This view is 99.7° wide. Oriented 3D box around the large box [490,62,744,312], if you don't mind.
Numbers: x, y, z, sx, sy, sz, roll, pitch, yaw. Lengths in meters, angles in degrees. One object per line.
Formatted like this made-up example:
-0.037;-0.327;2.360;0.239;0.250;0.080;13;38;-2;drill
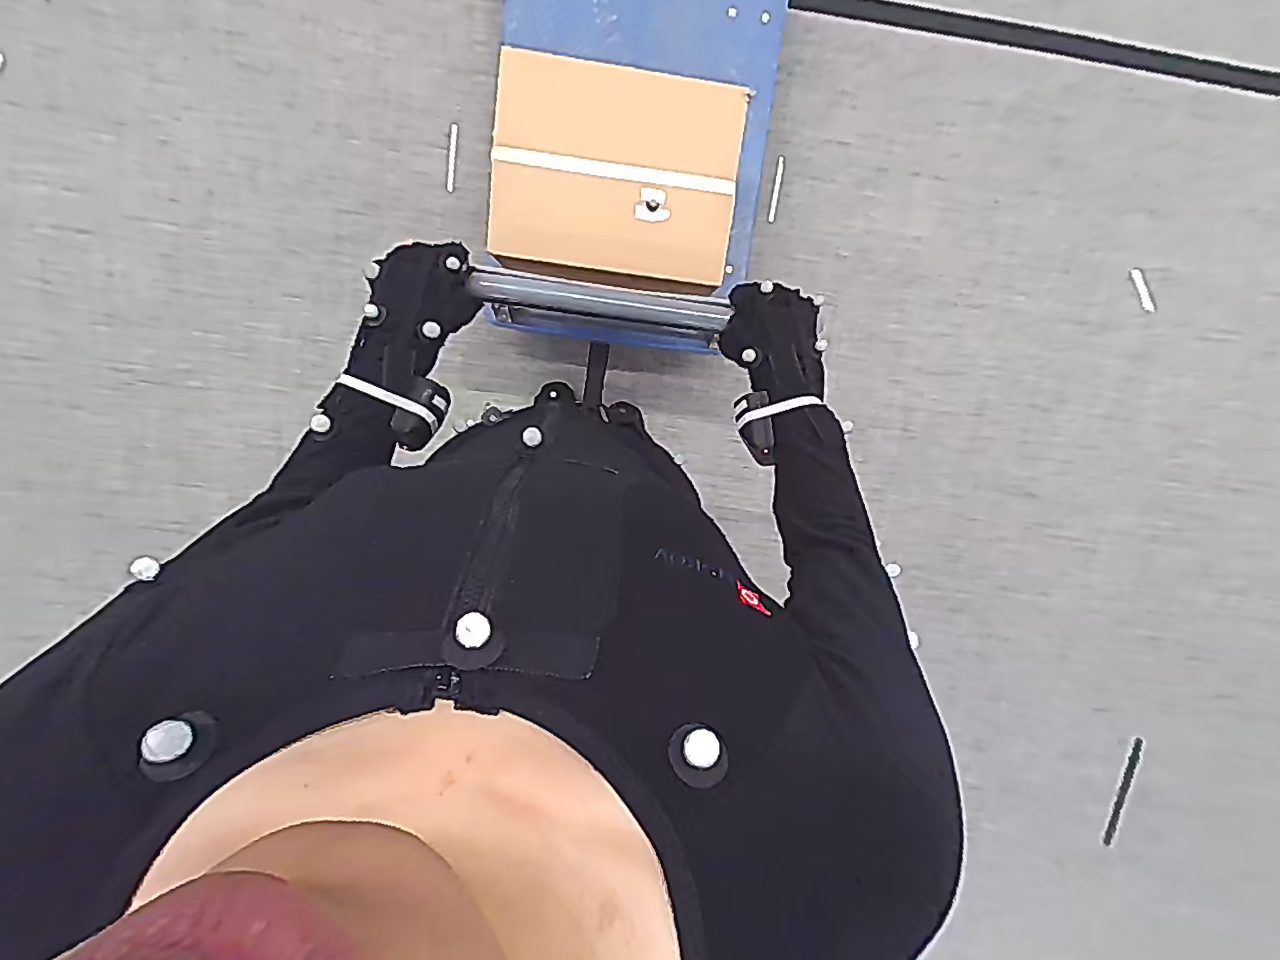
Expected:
-0.052;-0.522;1.041;0.408;0.320;0.320;6;101;-5;large box
